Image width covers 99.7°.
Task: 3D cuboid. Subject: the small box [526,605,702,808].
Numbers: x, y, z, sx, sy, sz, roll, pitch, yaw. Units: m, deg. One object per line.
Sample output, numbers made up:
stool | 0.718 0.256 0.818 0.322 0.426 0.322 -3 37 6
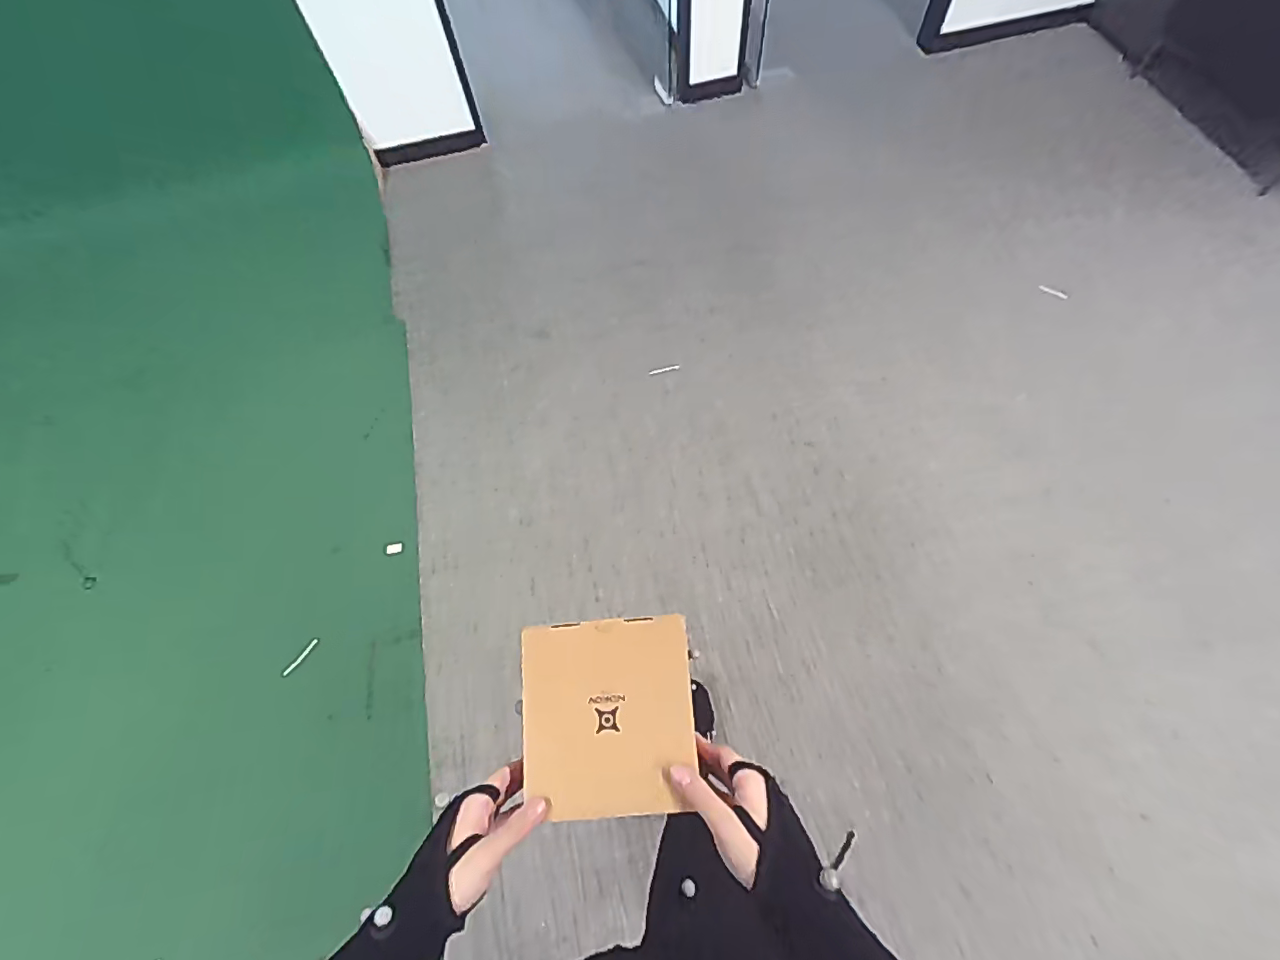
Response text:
small box | -0.022 0.239 0.603 0.168 0.176 0.179 -7 73 2
